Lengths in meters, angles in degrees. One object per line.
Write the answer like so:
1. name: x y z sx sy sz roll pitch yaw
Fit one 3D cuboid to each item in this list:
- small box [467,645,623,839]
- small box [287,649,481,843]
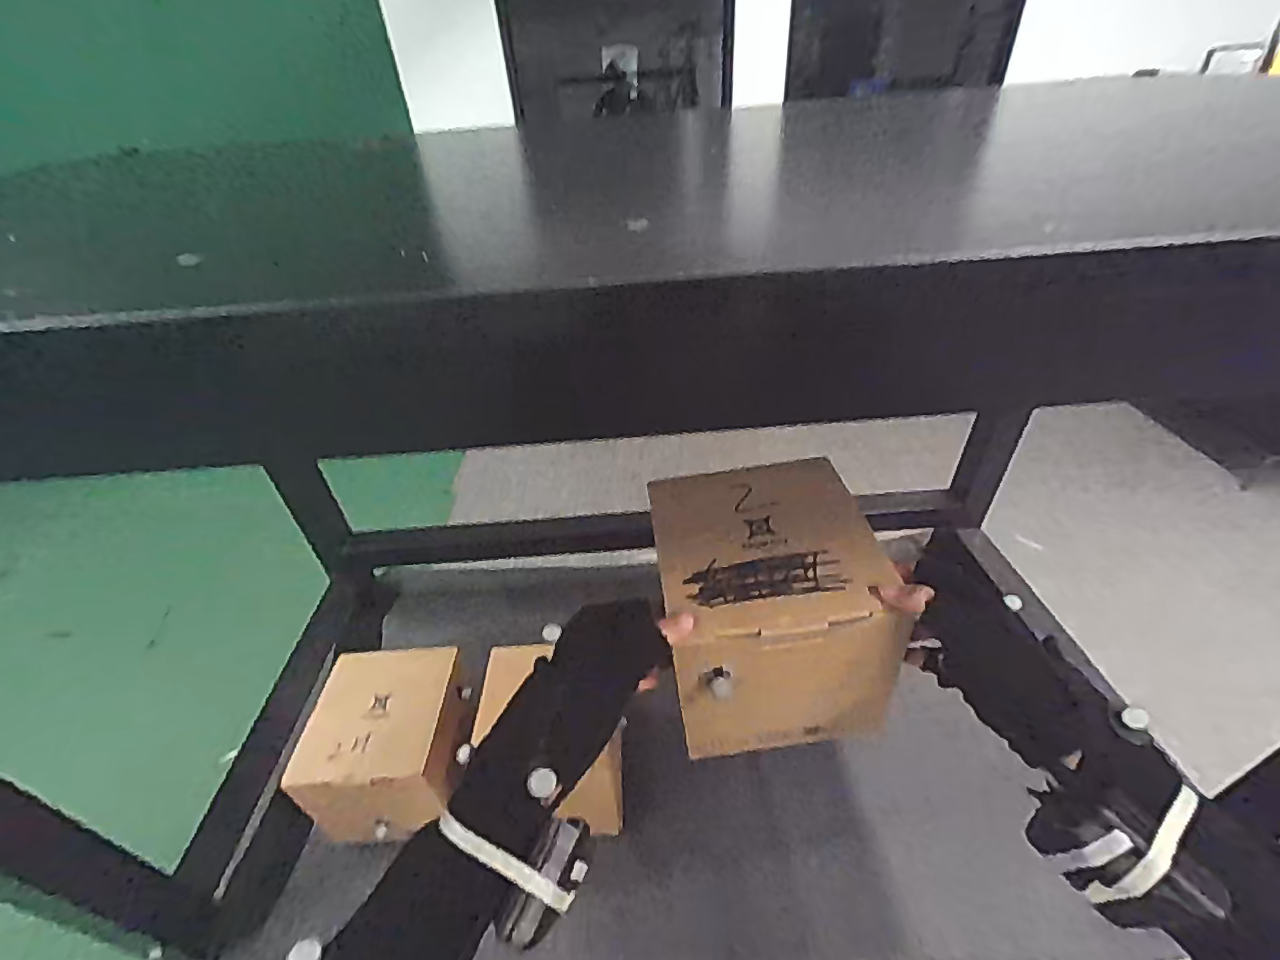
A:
1. small box: -0.112 0.345 0.719 0.168 0.176 0.179 -4 37 1
2. small box: -0.319 0.353 0.725 0.168 0.176 0.179 -4 37 1
